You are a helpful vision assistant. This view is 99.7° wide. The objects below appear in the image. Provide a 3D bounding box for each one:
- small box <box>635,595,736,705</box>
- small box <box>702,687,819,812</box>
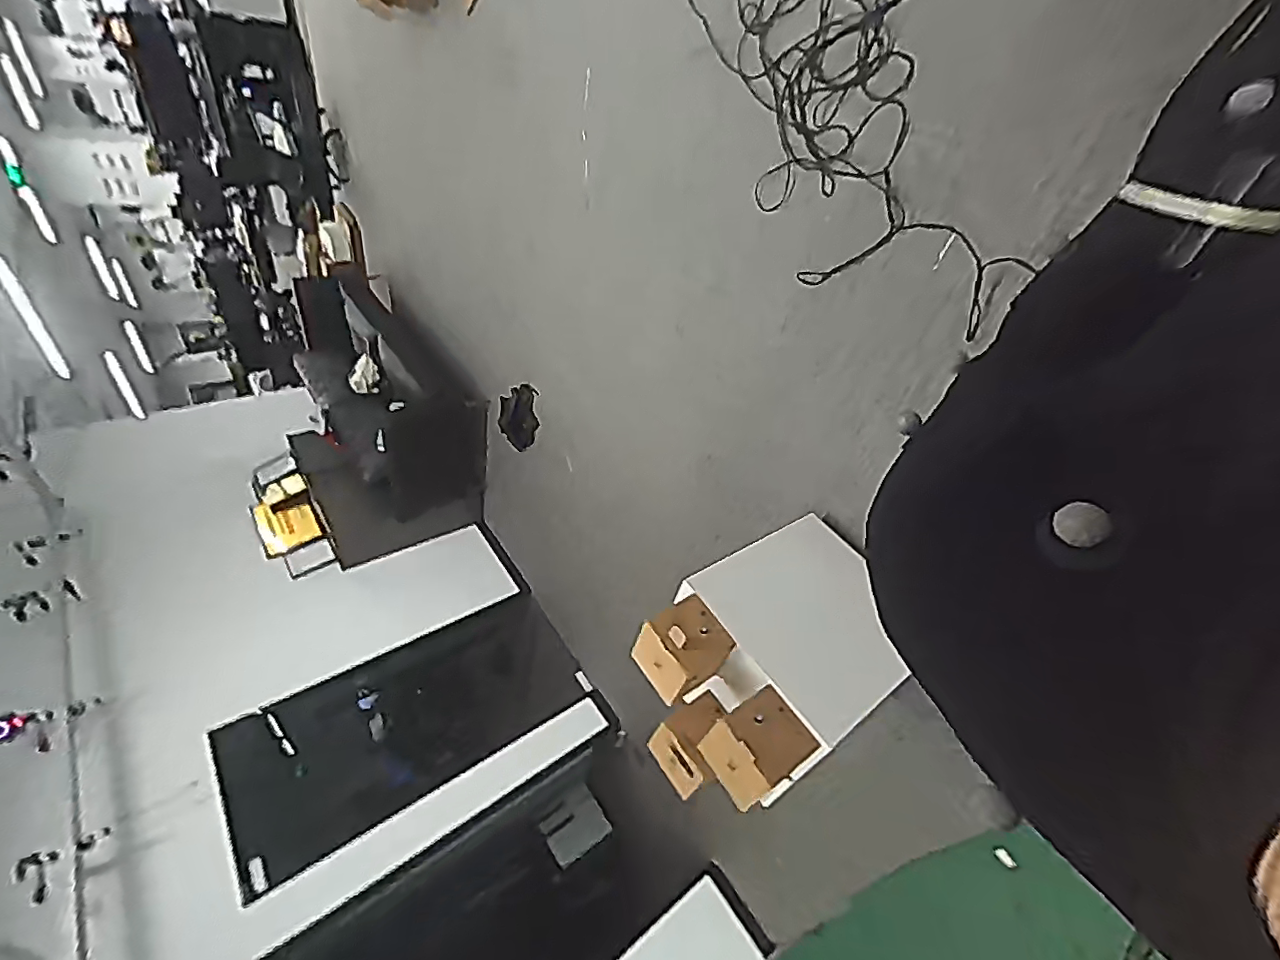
[{"bbox_3d":[0.115,0.423,1.361,0.168,0.176,0.179,48,141,30],"label":"small box"},{"bbox_3d":[0.274,0.603,1.224,0.168,0.176,0.179,50,144,31],"label":"small box"}]
